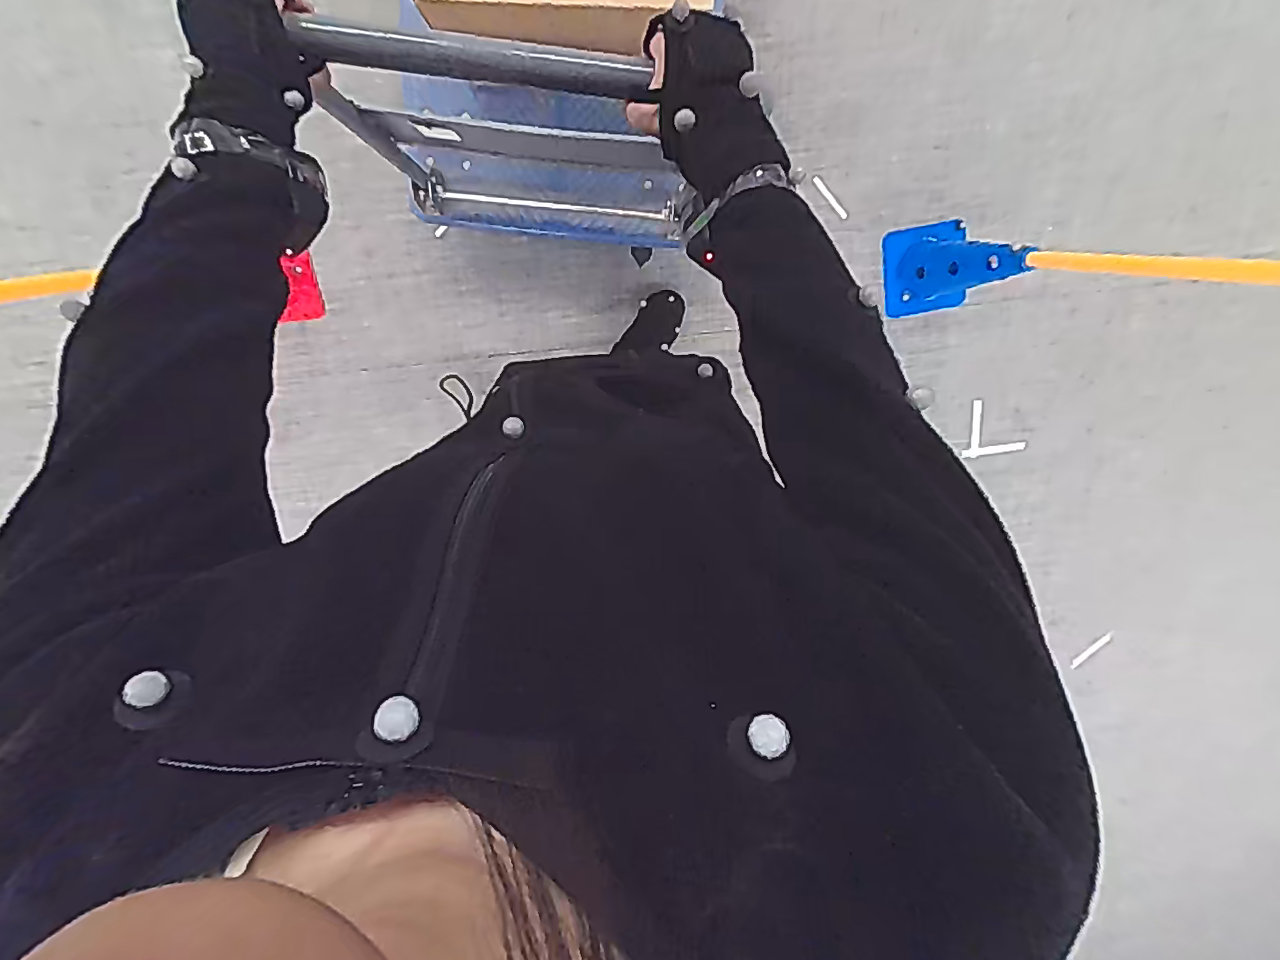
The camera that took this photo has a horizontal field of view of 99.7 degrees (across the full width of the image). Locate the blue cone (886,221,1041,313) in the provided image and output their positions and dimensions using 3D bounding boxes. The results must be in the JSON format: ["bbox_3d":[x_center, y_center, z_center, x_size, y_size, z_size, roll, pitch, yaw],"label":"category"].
[{"bbox_3d":[0.699,-0.461,1.151,0.193,0.380,0.192,-9,108,0],"label":"blue cone"}]
